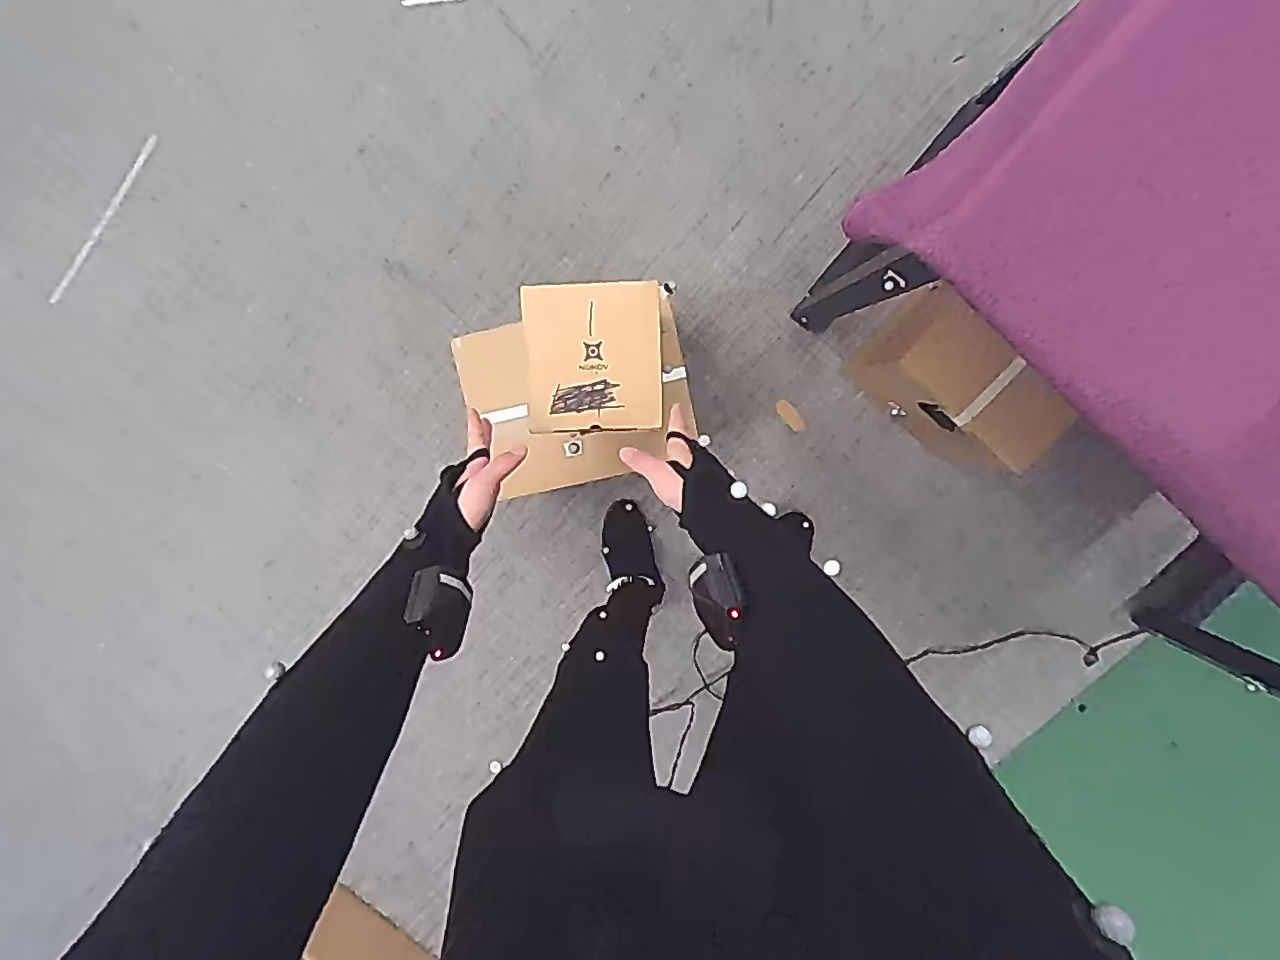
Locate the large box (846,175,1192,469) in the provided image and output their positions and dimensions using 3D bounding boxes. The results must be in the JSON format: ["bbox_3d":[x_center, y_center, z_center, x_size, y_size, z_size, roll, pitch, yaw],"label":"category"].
[{"bbox_3d":[0.702,-0.283,1.078,0.320,0.320,0.408,41,98,-5],"label":"large box"}]

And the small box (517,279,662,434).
[{"bbox_3d":[-0.056,-0.155,0.712,0.168,0.176,0.179,-2,98,3],"label":"small box"}]
